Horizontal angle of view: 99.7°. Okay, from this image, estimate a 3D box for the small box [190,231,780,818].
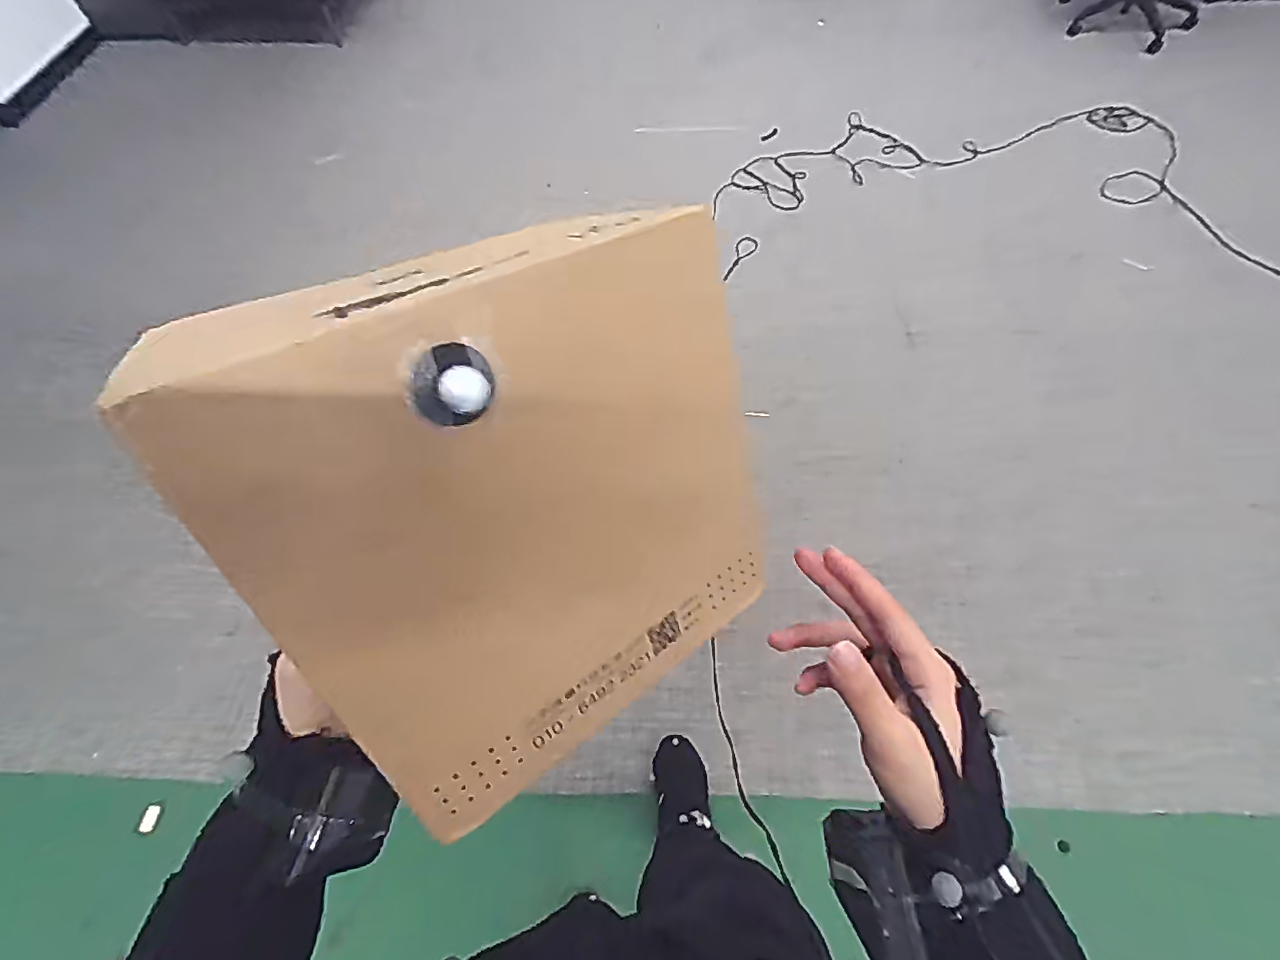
[{"bbox_3d":[-0.059,0.001,0.249,0.168,0.176,0.179,-31,33,-26],"label":"small box"}]
